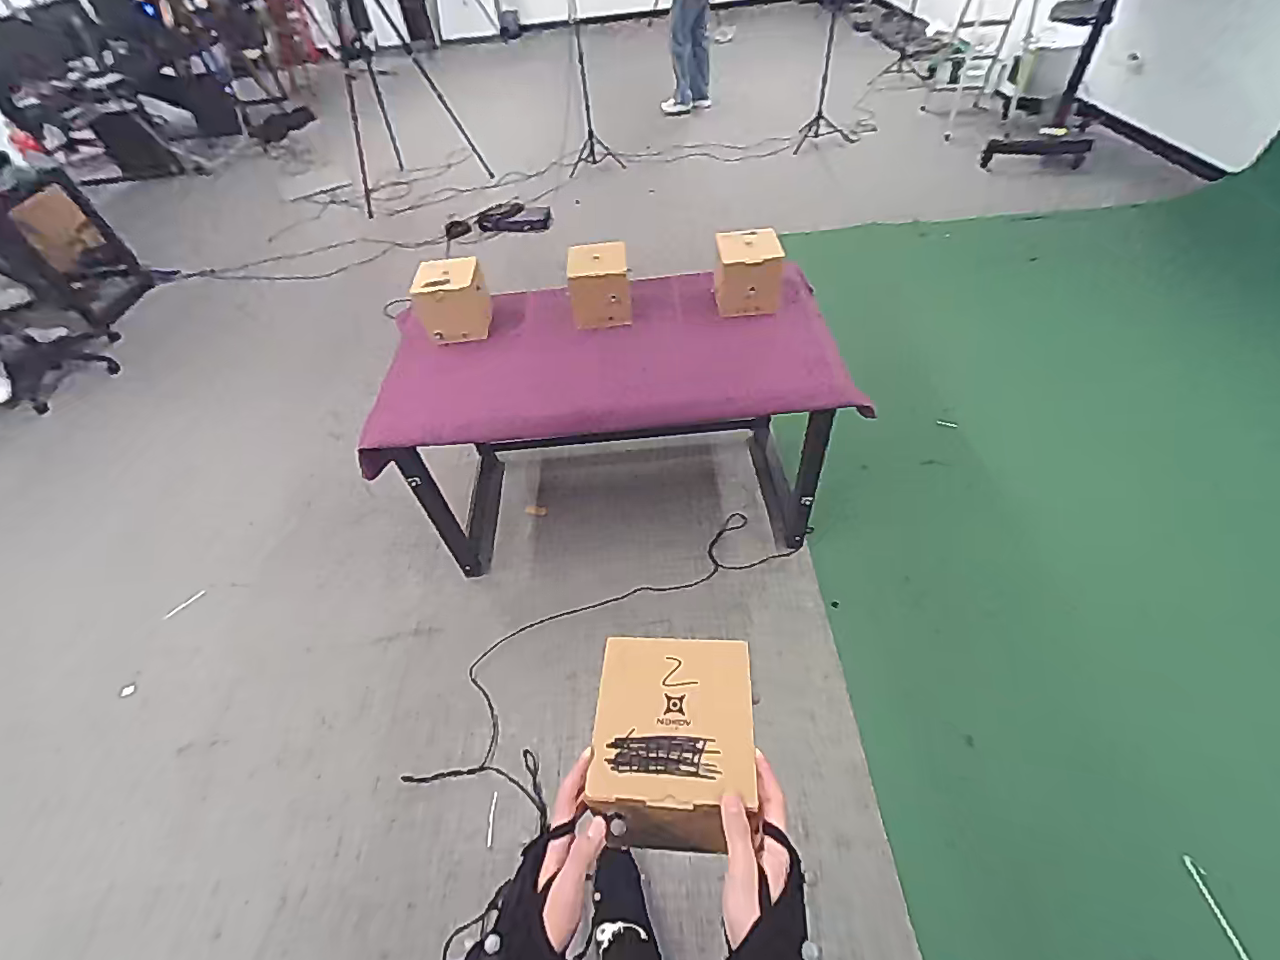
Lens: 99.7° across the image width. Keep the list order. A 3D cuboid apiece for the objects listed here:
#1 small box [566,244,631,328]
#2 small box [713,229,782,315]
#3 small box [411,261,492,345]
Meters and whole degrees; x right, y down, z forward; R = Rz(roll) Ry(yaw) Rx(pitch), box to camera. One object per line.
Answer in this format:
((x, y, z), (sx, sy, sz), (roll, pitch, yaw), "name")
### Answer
((-0.116, -0.552, 1.558), (0.168, 0.176, 0.179), (-5, 49, 1), "small box")
((0.299, -0.583, 1.534), (0.168, 0.176, 0.179), (-5, 50, 3), "small box")
((-0.537, -0.507, 1.566), (0.168, 0.176, 0.179), (-6, 48, 0), "small box")
